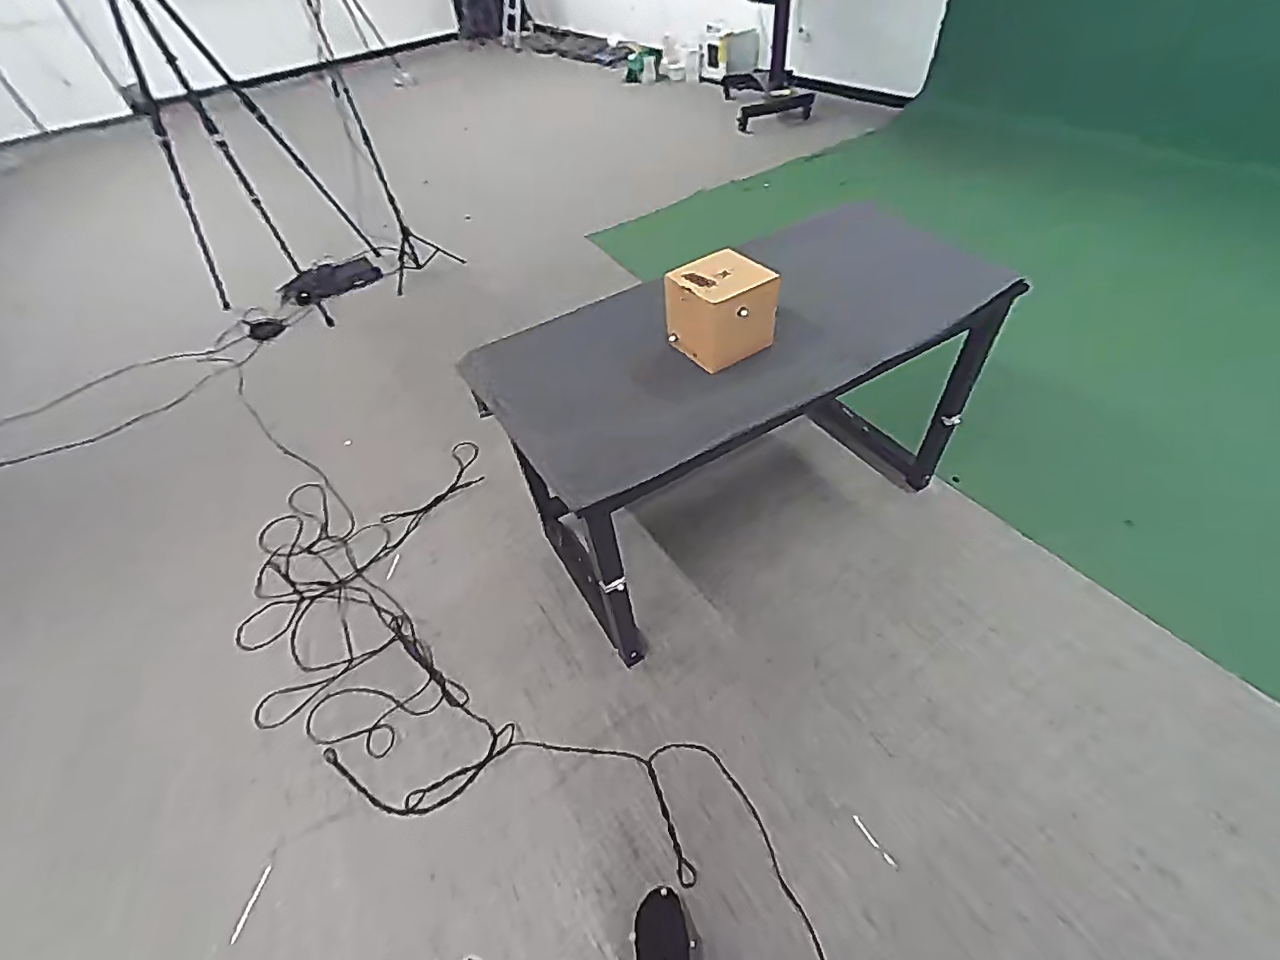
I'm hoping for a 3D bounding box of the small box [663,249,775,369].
[{"bbox_3d":[0.169,-0.370,1.177,0.179,0.176,0.168,-29,51,-19],"label":"small box"}]
